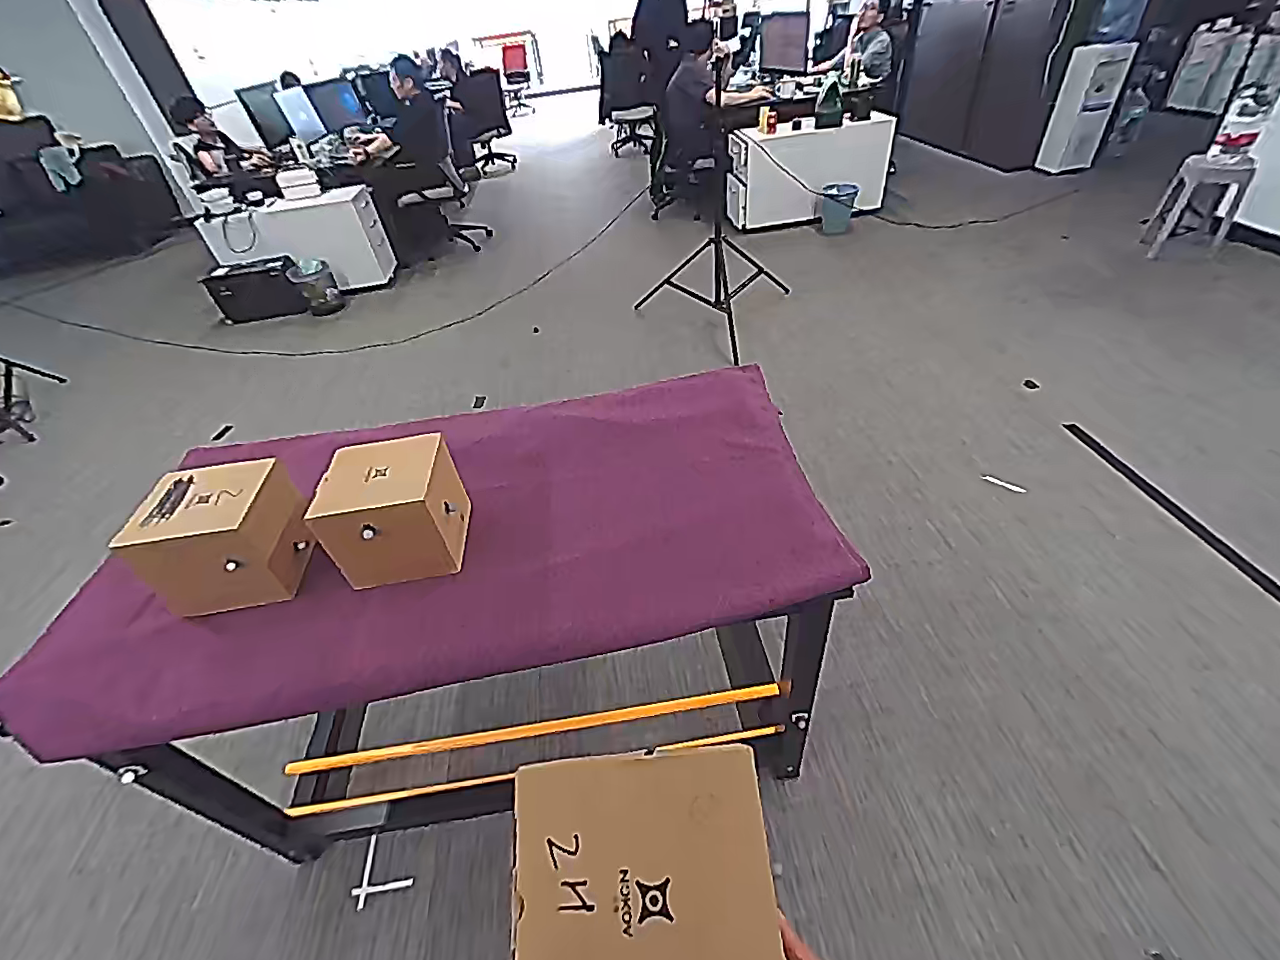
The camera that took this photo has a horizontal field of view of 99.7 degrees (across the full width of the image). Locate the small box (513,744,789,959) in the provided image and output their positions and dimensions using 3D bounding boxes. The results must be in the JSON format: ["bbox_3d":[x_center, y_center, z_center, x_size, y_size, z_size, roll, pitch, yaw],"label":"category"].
[{"bbox_3d":[0.011,0.305,0.424,0.179,0.176,0.168,-7,64,4],"label":"small box"}]

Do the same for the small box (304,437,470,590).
[{"bbox_3d":[-0.390,0.056,0.877,0.179,0.176,0.168,-10,41,-1],"label":"small box"}]
